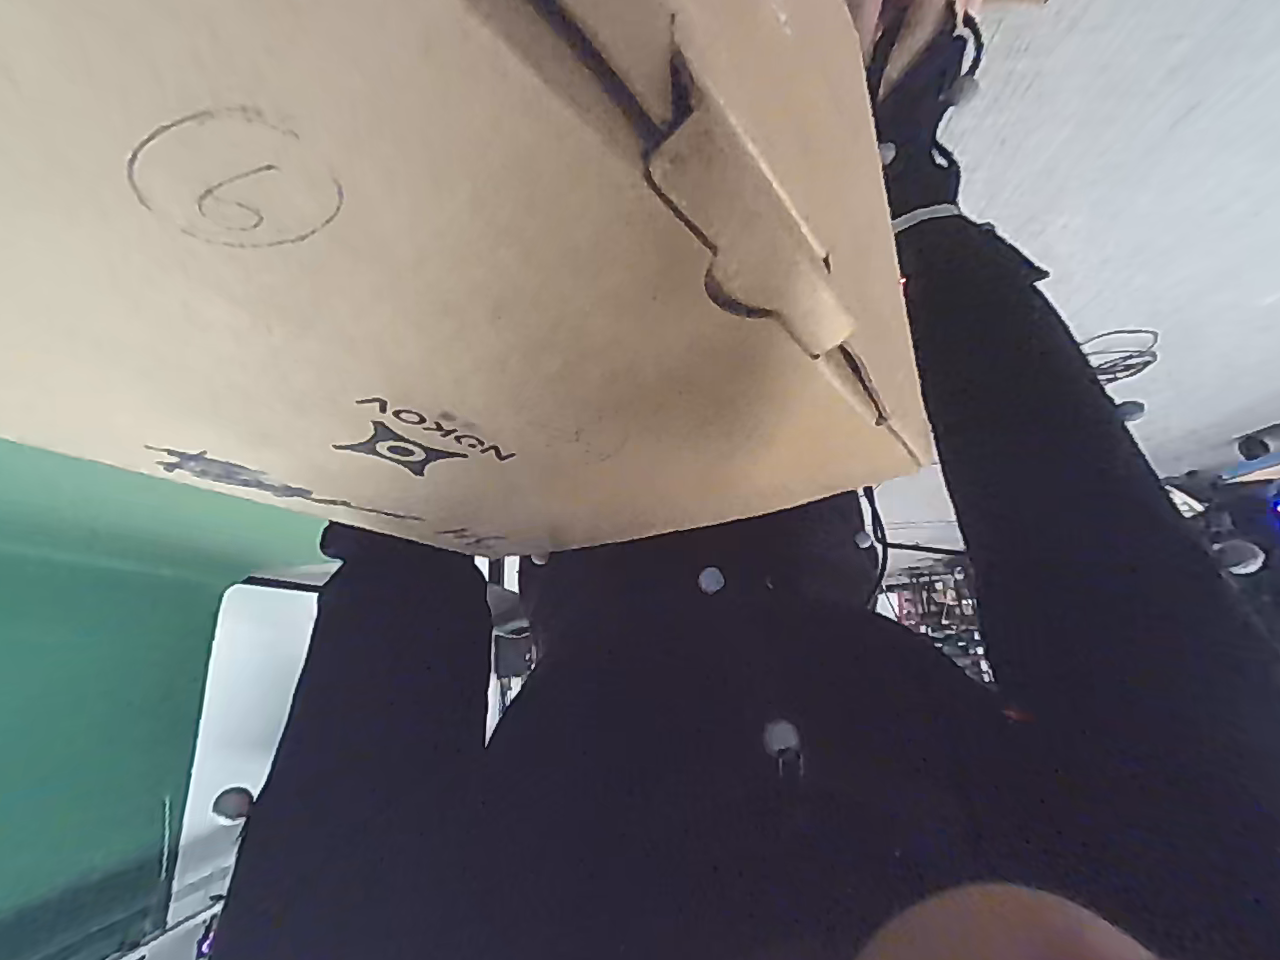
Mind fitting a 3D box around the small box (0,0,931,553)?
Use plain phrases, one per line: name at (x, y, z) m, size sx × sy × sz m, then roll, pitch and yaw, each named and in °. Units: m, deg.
small box at (-0.046, -0.087, 0.152) m, size 0.179 × 0.176 × 0.168 m, roll -15°, pitch 152°, yaw 37°
